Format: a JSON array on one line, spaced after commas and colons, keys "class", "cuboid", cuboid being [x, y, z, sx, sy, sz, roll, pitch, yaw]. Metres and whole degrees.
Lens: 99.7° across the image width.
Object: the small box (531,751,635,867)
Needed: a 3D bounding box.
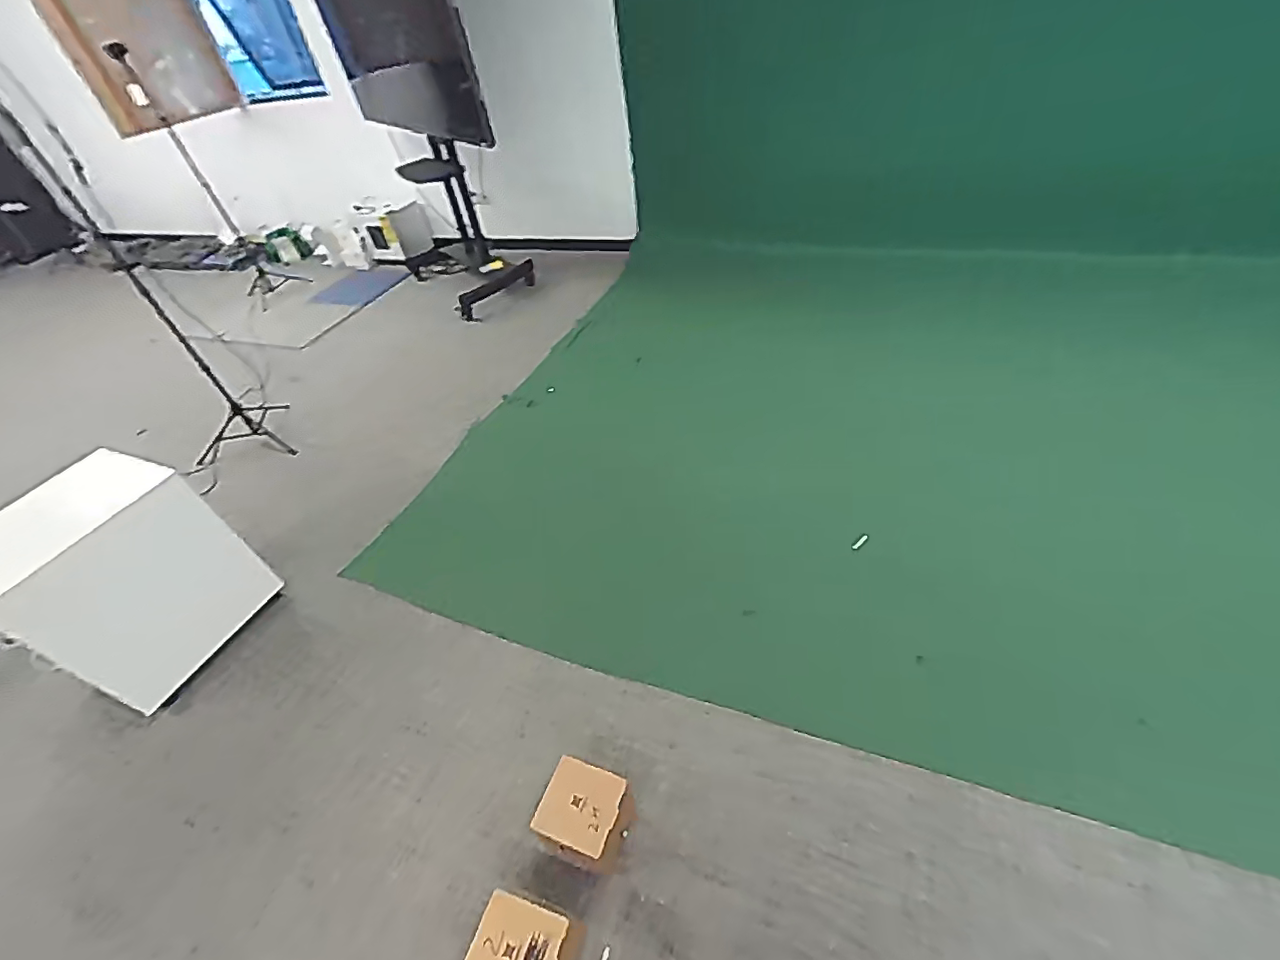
[{"class": "small box", "cuboid": [-0.126, 0.784, 1.284, 0.179, 0.176, 0.168, 12, 47, 20]}]
